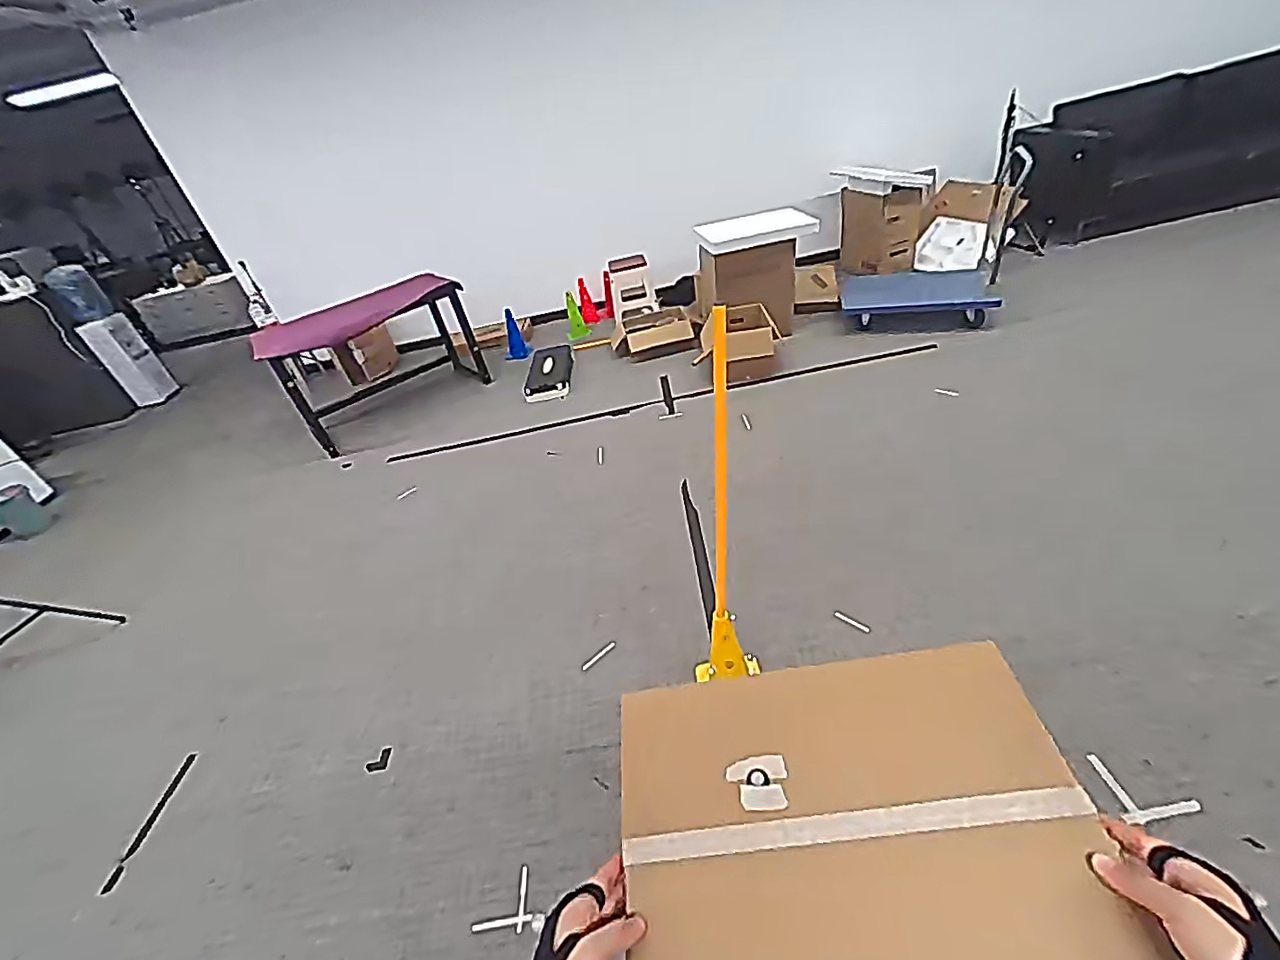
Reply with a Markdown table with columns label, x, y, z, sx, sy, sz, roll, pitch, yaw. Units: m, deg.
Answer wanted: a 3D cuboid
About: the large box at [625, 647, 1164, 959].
| label | x | y | z | sx | sy | sz | roll | pitch | yaw |
| --- | --- | --- | --- | --- | --- | --- | --- | --- | --- |
| large box | 0.219 | 0.428 | 0.589 | 0.408 | 0.320 | 0.320 | -12 | 40 | 7 |
